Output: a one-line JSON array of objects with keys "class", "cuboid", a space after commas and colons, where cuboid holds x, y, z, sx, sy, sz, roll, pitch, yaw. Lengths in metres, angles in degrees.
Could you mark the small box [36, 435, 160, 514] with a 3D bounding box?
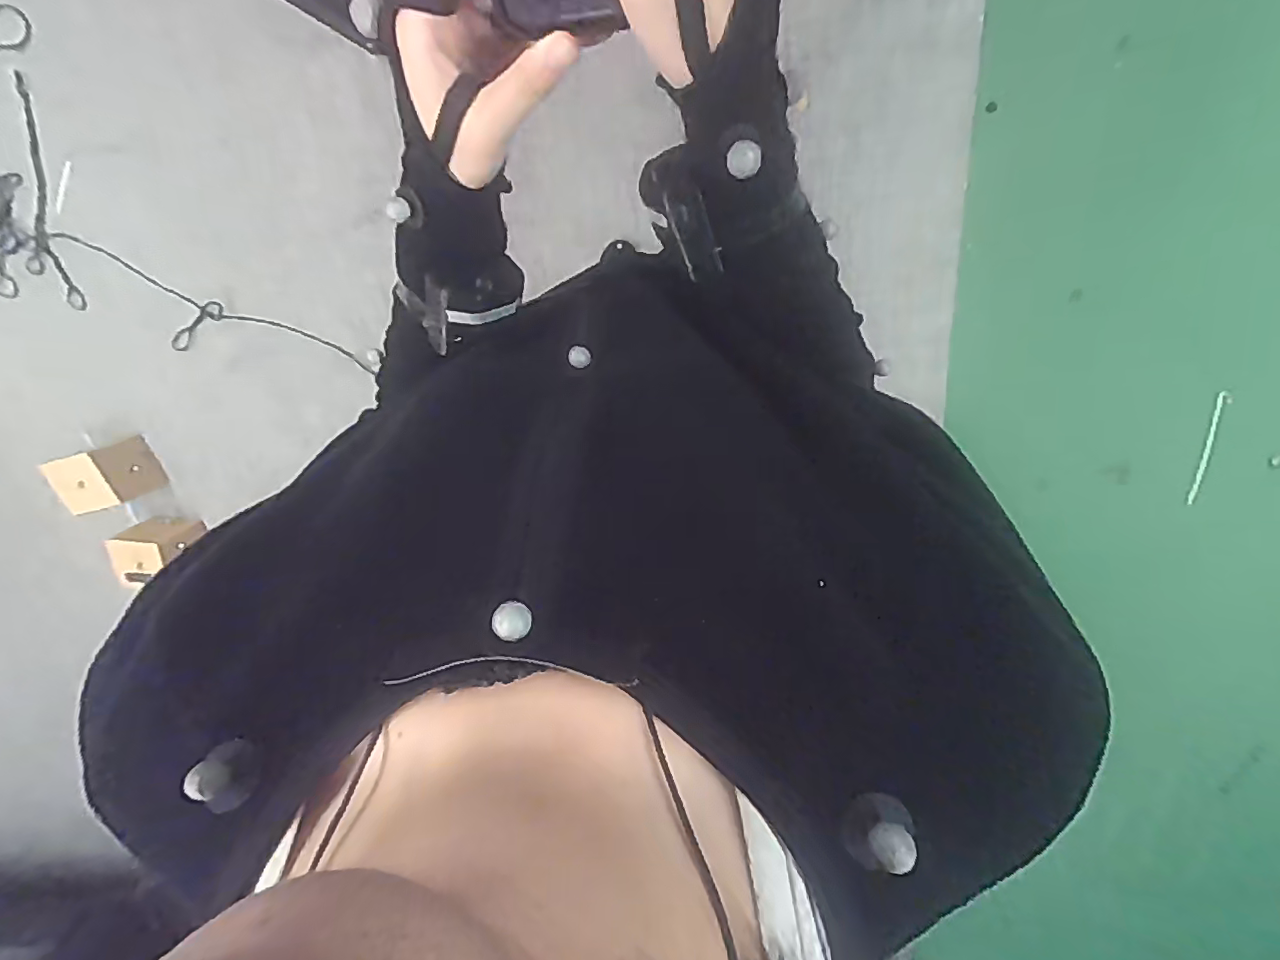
[{"class": "small box", "cuboid": [-1.591, -0.021, 1.607, 0.179, 0.176, 0.168, -11, 112, 10]}]
